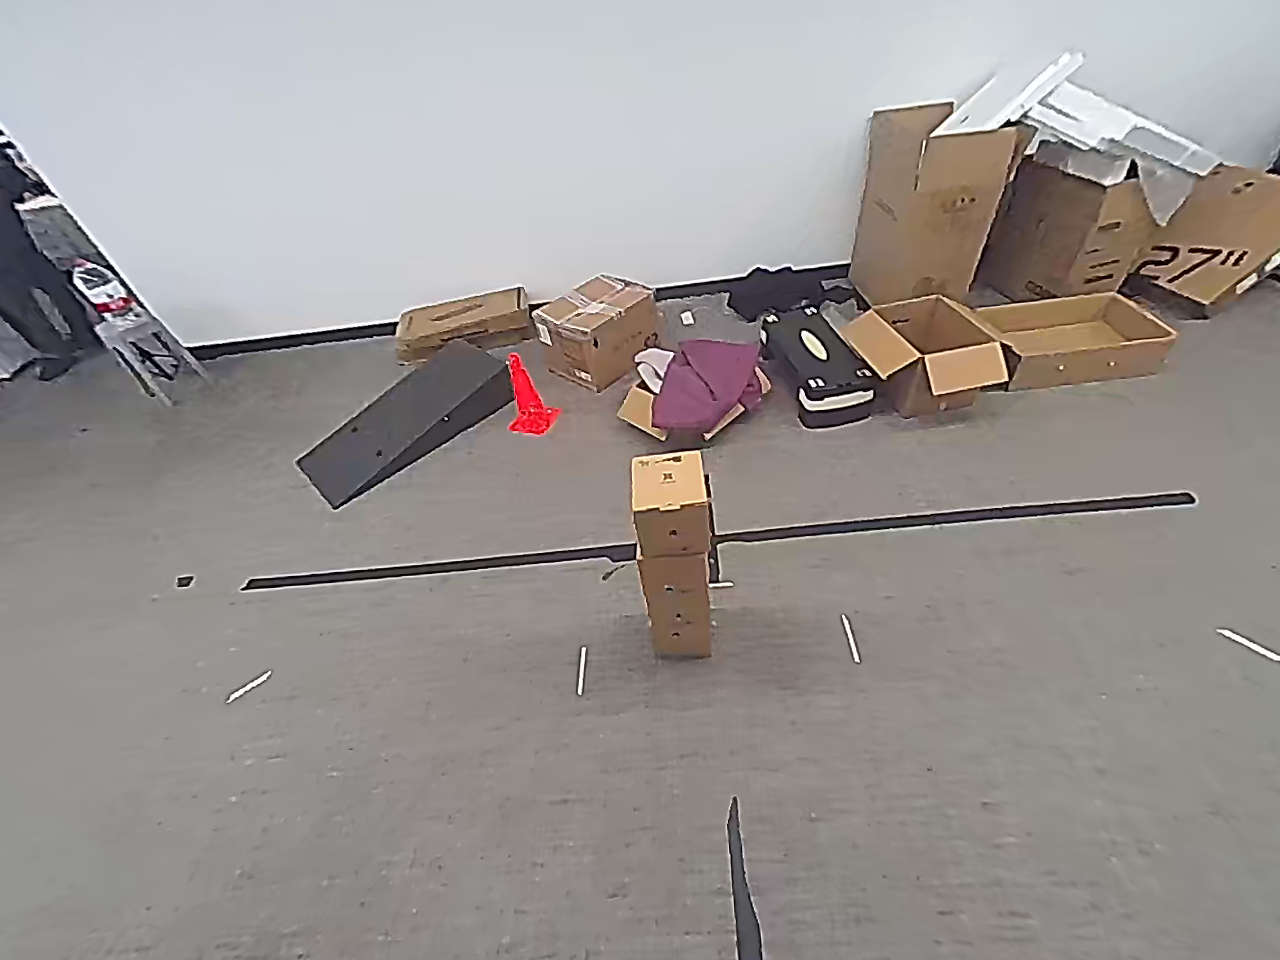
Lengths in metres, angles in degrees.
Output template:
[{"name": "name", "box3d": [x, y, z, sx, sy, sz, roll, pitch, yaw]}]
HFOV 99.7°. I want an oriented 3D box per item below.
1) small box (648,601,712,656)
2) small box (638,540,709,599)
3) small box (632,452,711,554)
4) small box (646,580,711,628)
[{"name": "small box", "box3d": [0.123, 0.411, 1.613, 0.179, 0.176, 0.168, -2, 44, 7]}, {"name": "small box", "box3d": [0.090, 0.184, 1.380, 0.168, 0.176, 0.179, -3, 45, 8]}, {"name": "small box", "box3d": [0.075, 0.061, 1.272, 0.168, 0.176, 0.179, -6, 44, 5]}, {"name": "small box", "box3d": [0.110, 0.290, 1.502, 0.168, 0.176, 0.179, -3, 45, 8]}]
